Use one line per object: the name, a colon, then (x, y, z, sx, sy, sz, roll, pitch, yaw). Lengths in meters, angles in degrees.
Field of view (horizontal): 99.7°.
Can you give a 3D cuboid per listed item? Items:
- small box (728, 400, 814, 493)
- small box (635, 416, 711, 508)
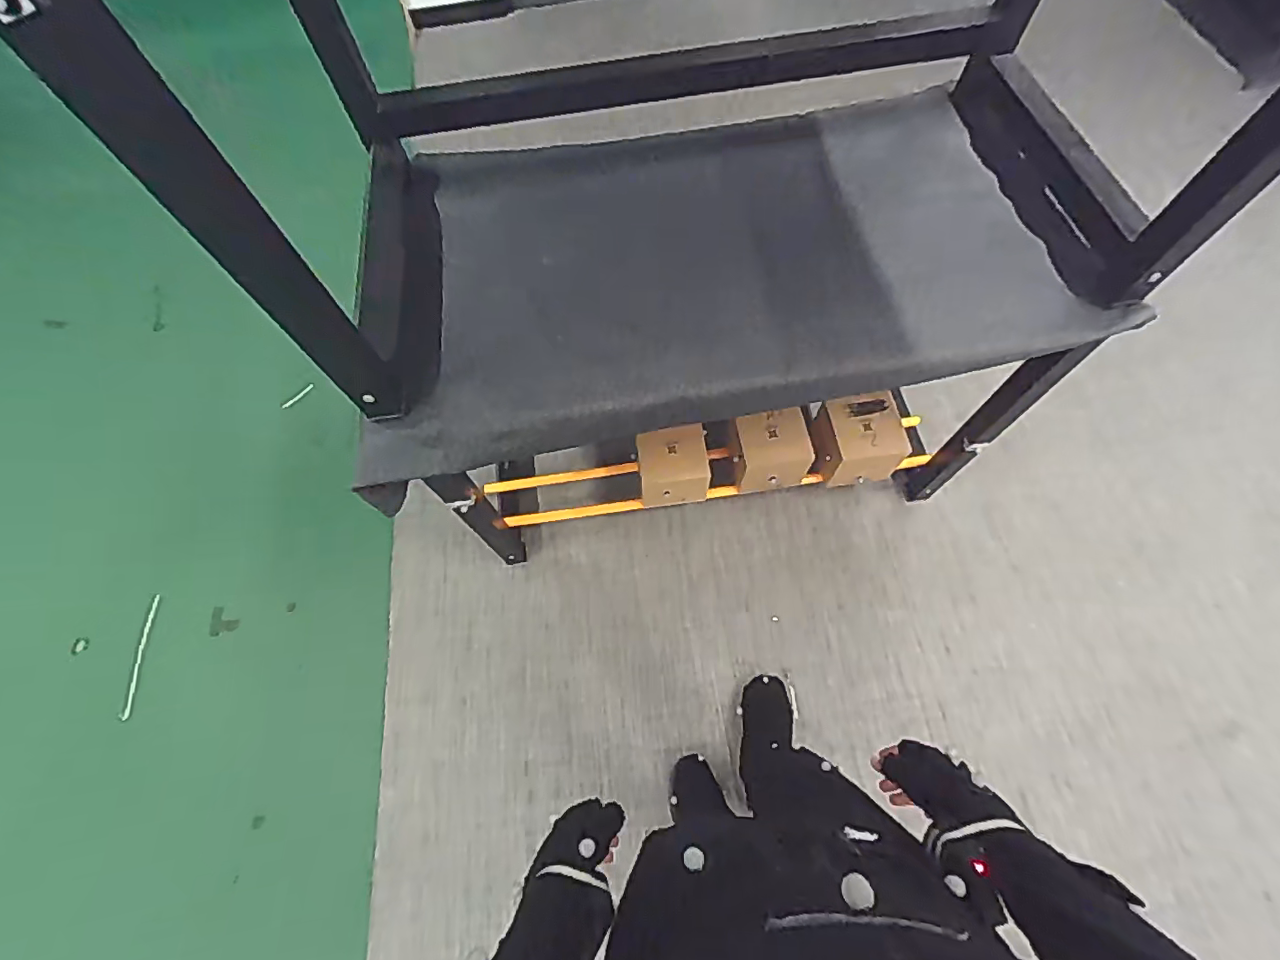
small box: (0.325, -0.077, 1.374, 0.168, 0.176, 0.179, -9, 66, 0)
small box: (0.082, -0.037, 1.369, 0.168, 0.176, 0.179, -7, 66, -1)
